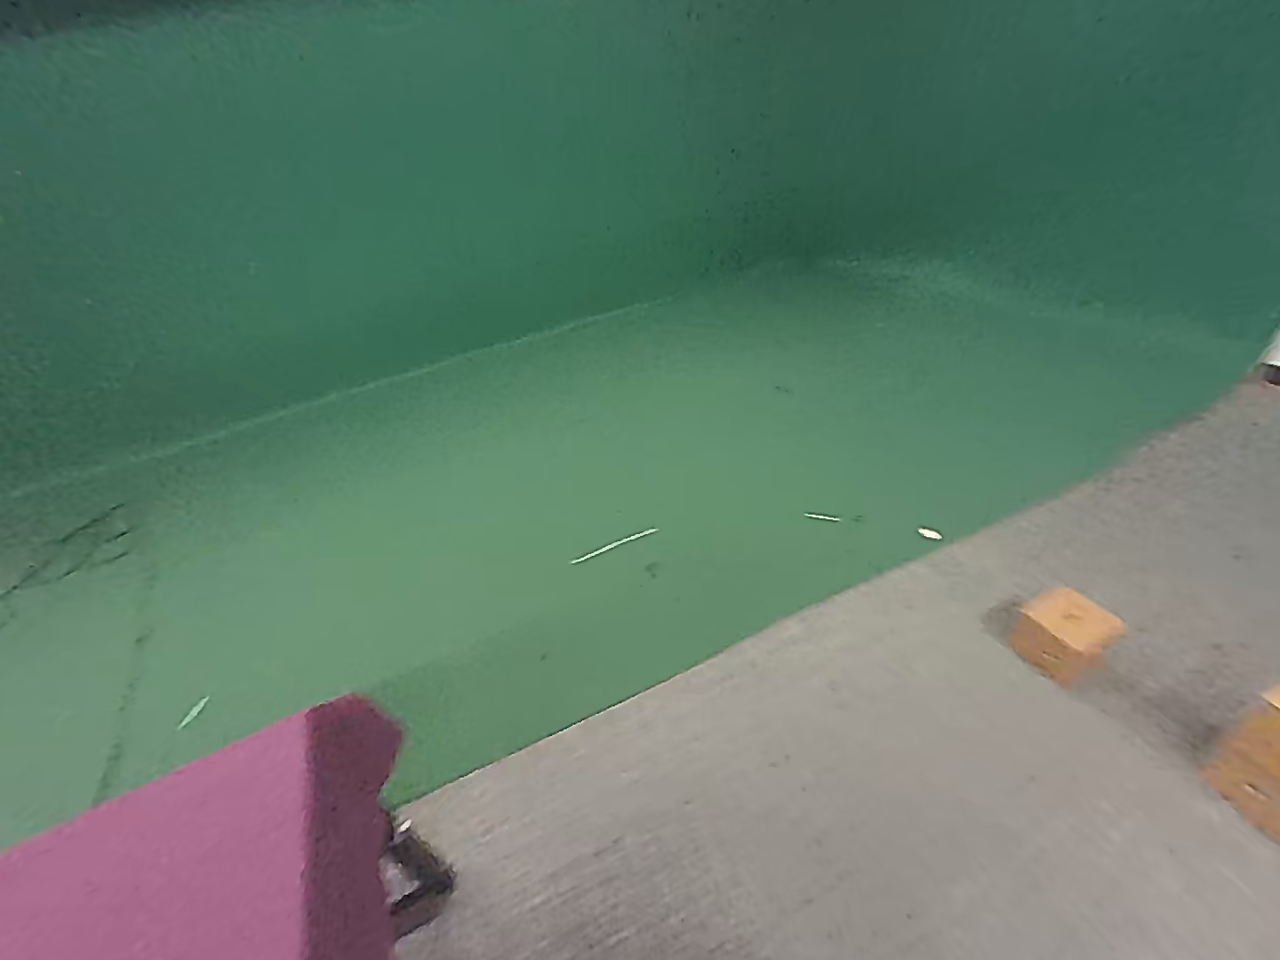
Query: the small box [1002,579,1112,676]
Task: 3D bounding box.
[{"bbox_3d":[1.171,0.421,1.536,0.179,0.176,0.168,-22,39,-15],"label":"small box"}]
